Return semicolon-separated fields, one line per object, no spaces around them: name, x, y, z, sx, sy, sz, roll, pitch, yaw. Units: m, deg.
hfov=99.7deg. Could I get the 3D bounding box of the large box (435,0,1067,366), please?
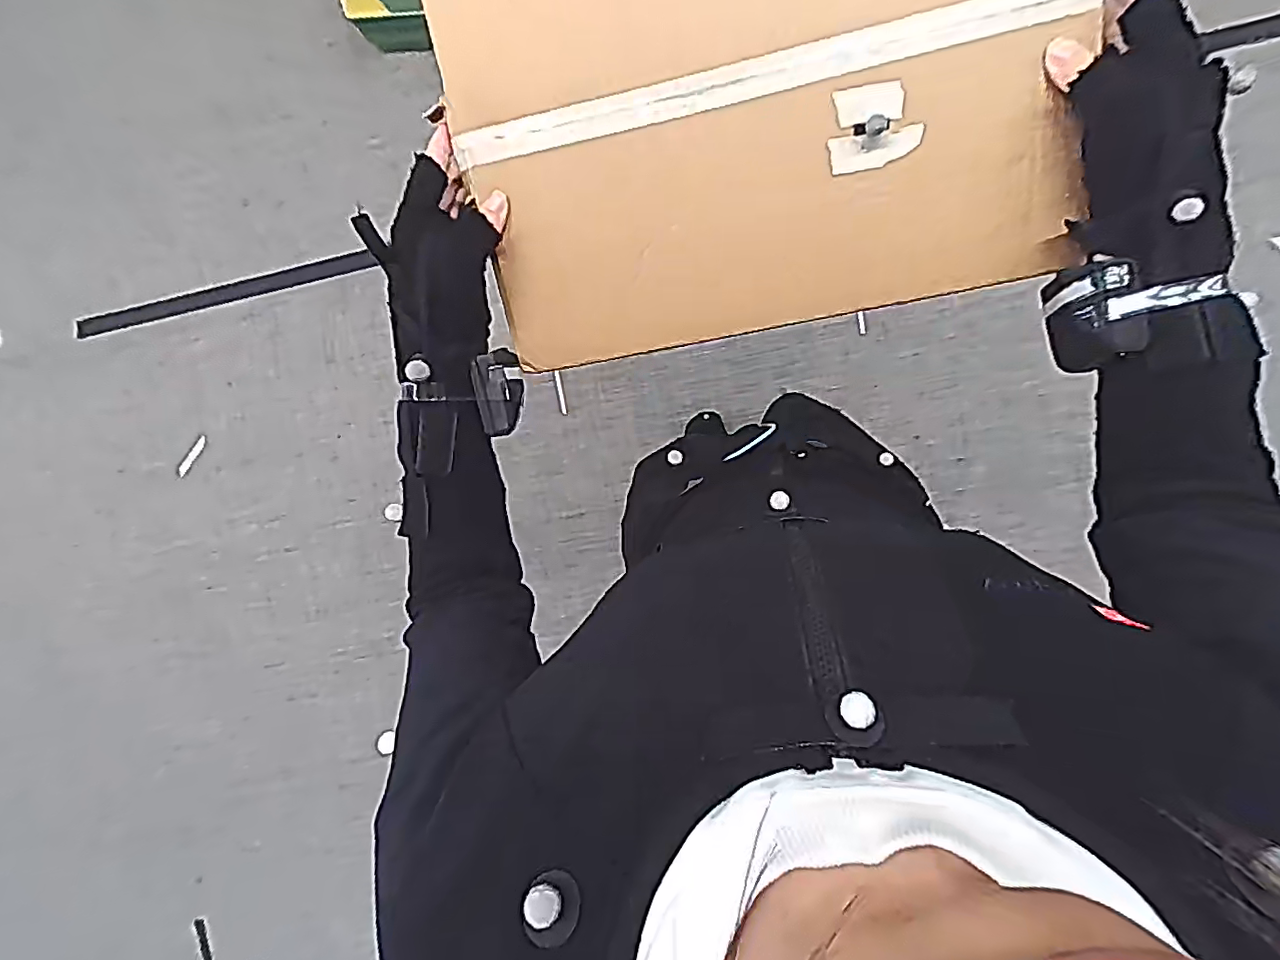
large box;0.083;-0.314;0.506;0.408;0.320;0.320;-10;109;7
